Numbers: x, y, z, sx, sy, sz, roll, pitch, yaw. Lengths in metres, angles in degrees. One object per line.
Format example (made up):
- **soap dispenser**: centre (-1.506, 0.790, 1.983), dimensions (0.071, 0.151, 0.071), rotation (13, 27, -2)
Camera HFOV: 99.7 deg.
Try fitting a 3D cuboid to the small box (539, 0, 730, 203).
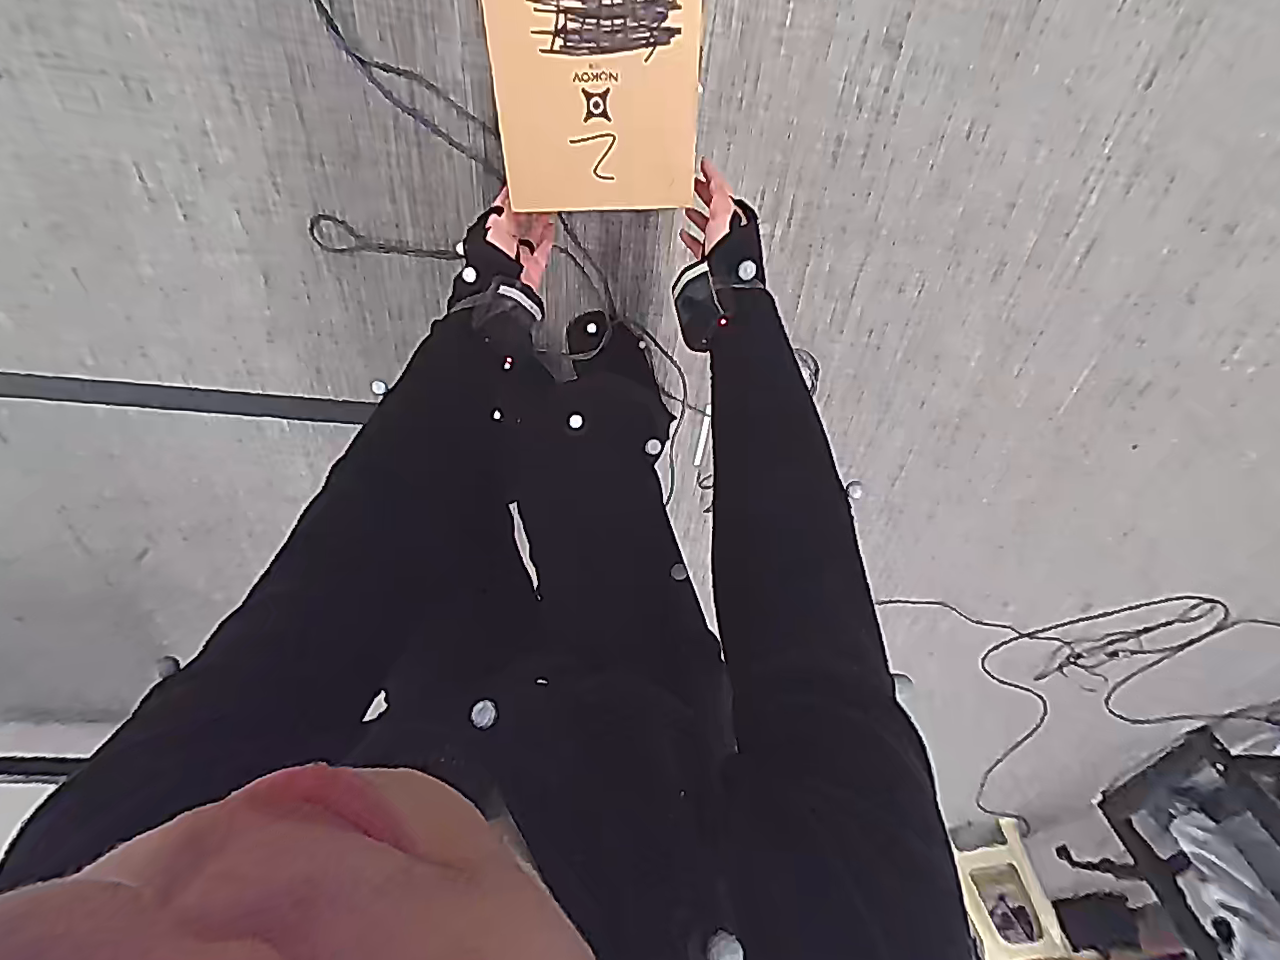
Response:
- **small box**: centre (-0.010, -0.421, 0.606), dimensions (0.168, 0.176, 0.179), rotation (-10, 111, -19)
